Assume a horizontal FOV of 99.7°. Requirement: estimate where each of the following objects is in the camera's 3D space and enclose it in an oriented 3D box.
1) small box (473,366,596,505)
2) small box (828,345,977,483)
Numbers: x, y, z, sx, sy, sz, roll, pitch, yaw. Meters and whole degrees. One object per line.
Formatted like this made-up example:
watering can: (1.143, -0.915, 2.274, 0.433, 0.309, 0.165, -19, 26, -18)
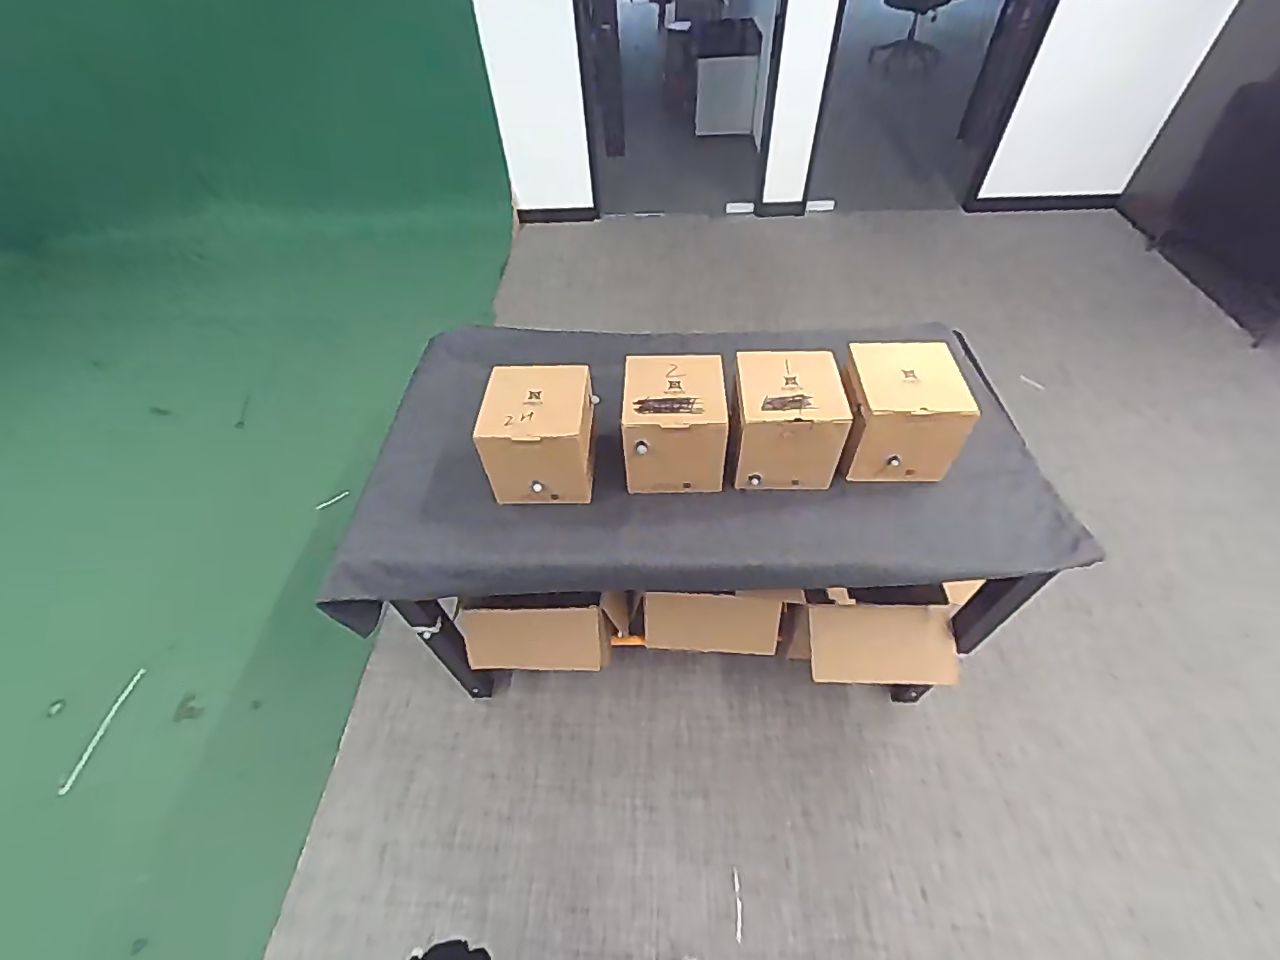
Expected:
small box: (-0.169, -0.076, 0.933, 0.168, 0.176, 0.179, -1, 50, 3)
small box: (0.440, -0.115, 0.942, 0.168, 0.176, 0.179, 0, 51, 3)
